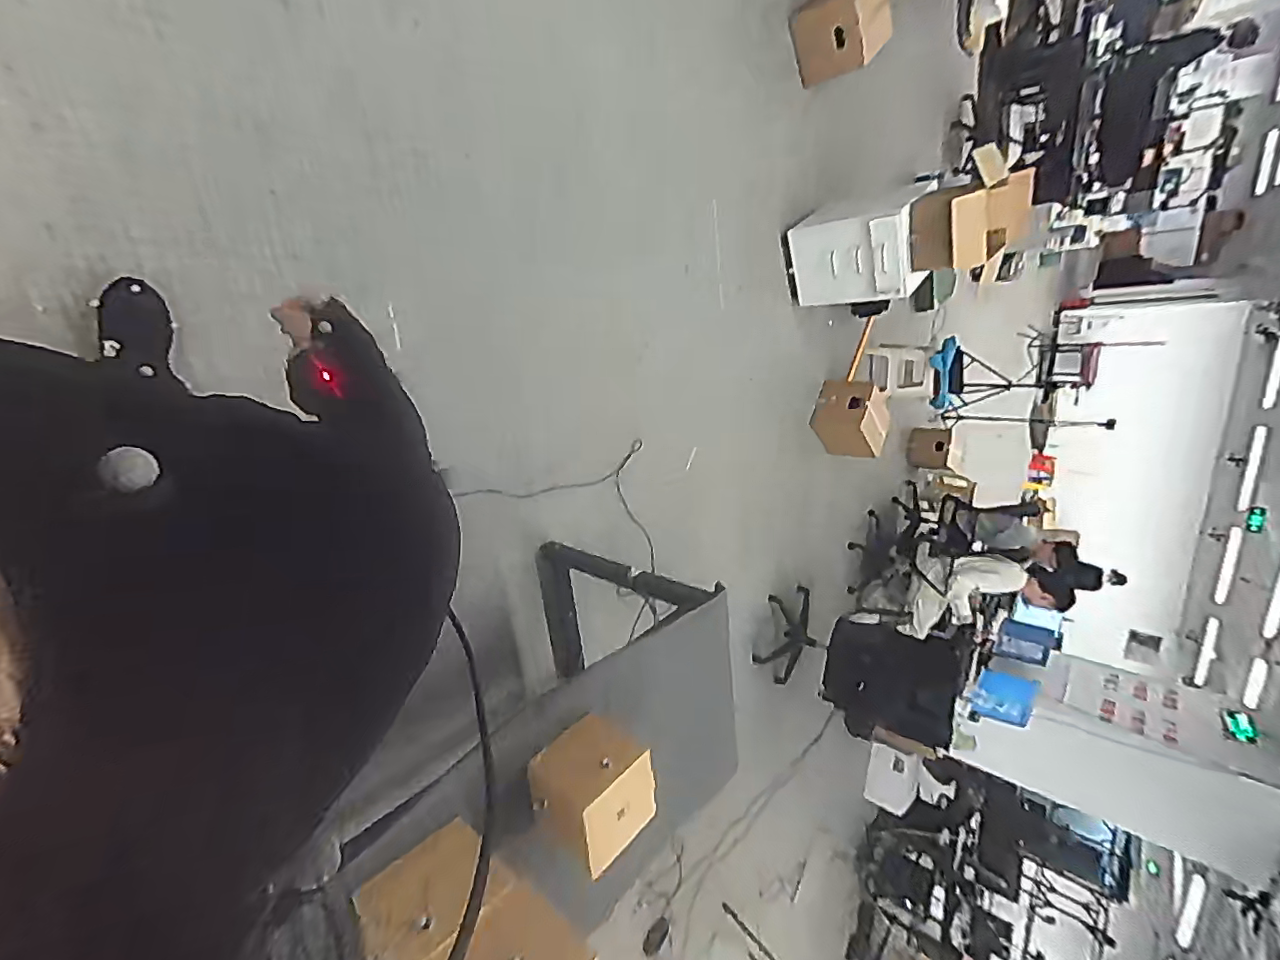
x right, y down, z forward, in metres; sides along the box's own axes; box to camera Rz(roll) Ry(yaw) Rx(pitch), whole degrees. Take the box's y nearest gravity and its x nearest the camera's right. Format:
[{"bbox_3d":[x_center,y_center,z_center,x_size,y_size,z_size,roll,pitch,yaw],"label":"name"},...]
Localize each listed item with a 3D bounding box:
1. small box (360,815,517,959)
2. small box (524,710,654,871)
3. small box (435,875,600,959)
[{"bbox_3d":[-0.302,0.667,0.821,0.179,0.176,0.168,-18,113,-47],"label":"small box"},{"bbox_3d":[-0.096,0.583,1.045,0.179,0.176,0.168,-24,115,-43],"label":"small box"},{"bbox_3d":[-0.169,0.700,0.729,0.179,0.176,0.168,-20,114,-47],"label":"small box"}]
